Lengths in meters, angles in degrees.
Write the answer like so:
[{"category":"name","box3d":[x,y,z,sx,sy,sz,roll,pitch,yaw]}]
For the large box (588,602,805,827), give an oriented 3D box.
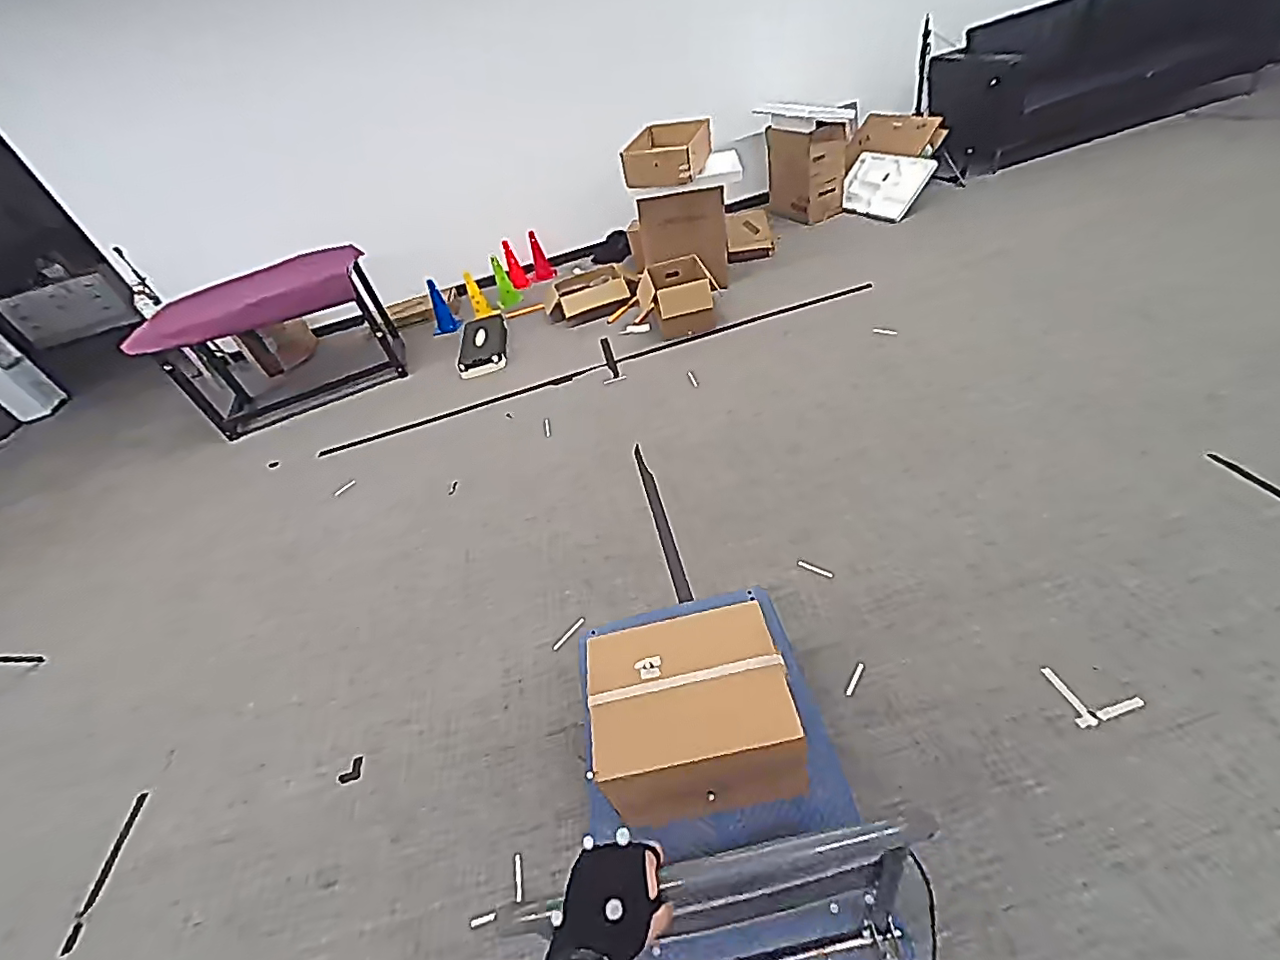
[{"category":"large box","box3d":[0.124,0.534,1.226,0.408,0.320,0.320,-15,40,4]}]
